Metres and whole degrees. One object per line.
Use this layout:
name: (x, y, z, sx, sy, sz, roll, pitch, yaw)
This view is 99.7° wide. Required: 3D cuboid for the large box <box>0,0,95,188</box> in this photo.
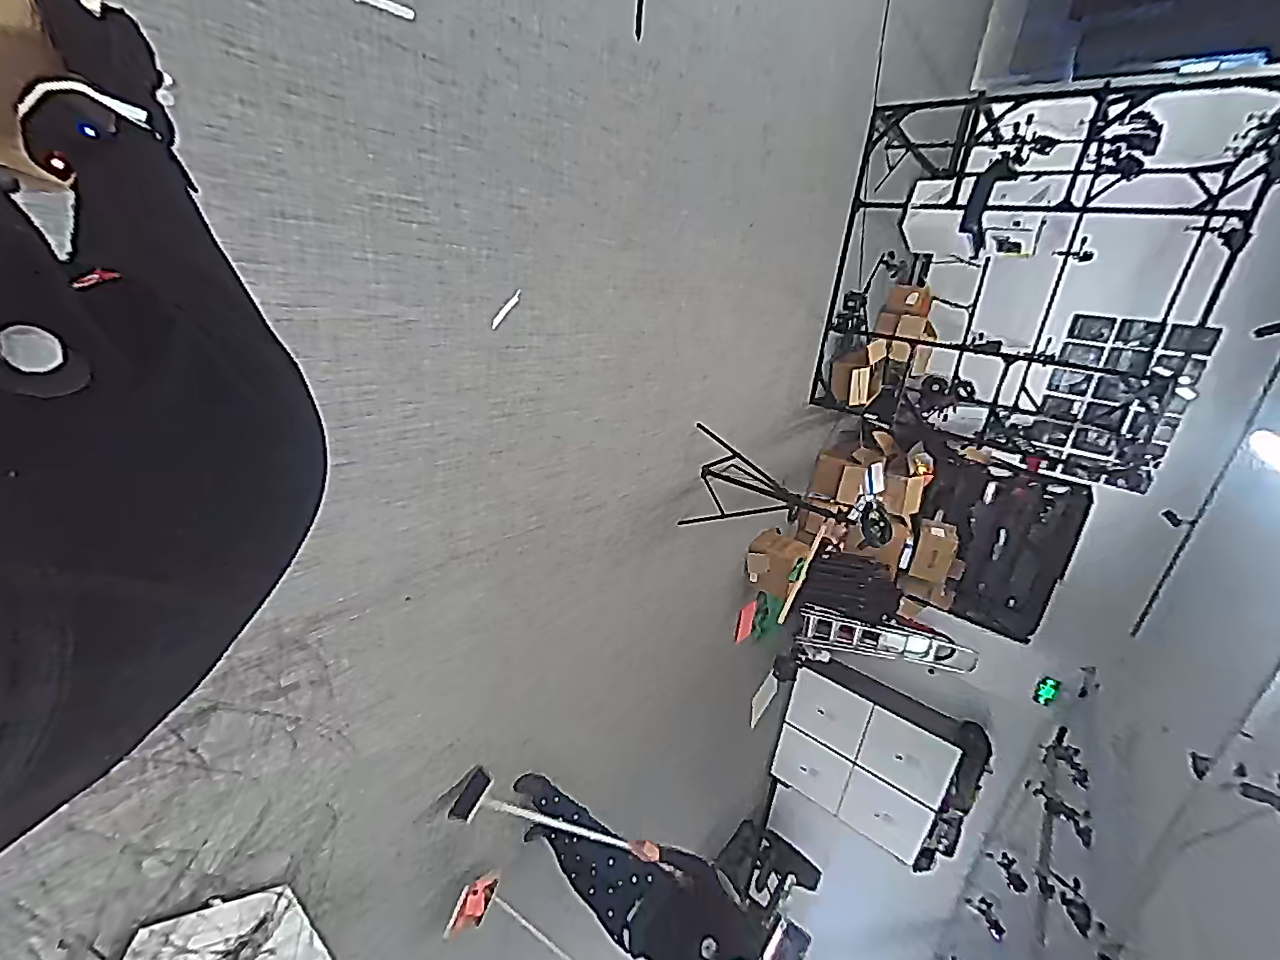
large box: (-0.707, -0.450, 0.378, 0.408, 0.320, 0.320, -1, 106, -60)
